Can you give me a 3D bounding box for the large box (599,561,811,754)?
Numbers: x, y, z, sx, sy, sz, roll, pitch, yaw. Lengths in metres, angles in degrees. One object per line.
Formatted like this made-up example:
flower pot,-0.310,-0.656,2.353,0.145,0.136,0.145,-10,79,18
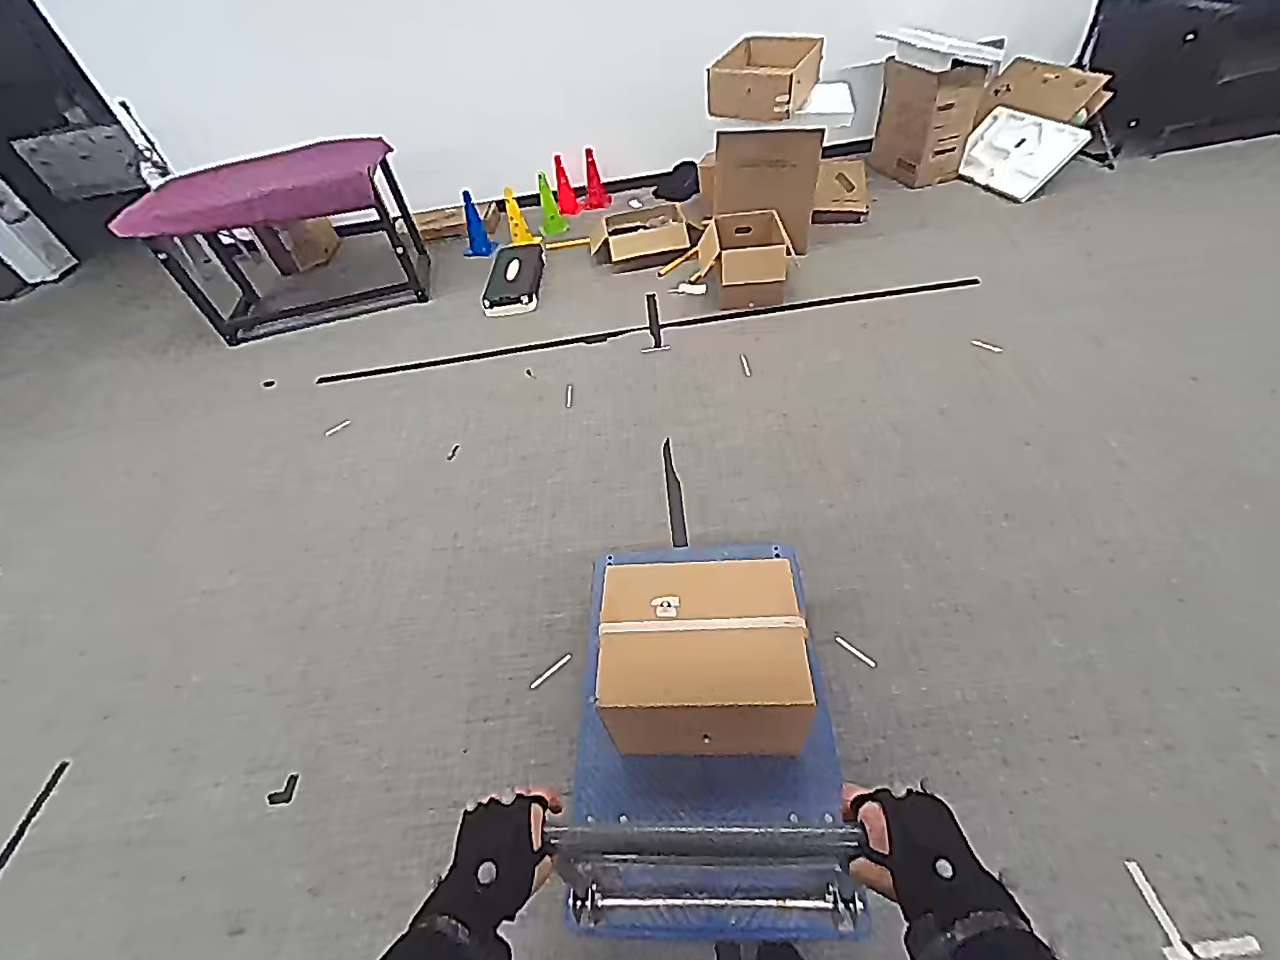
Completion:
large box,0.140,0.408,1.220,0.408,0.320,0.320,-5,47,6
